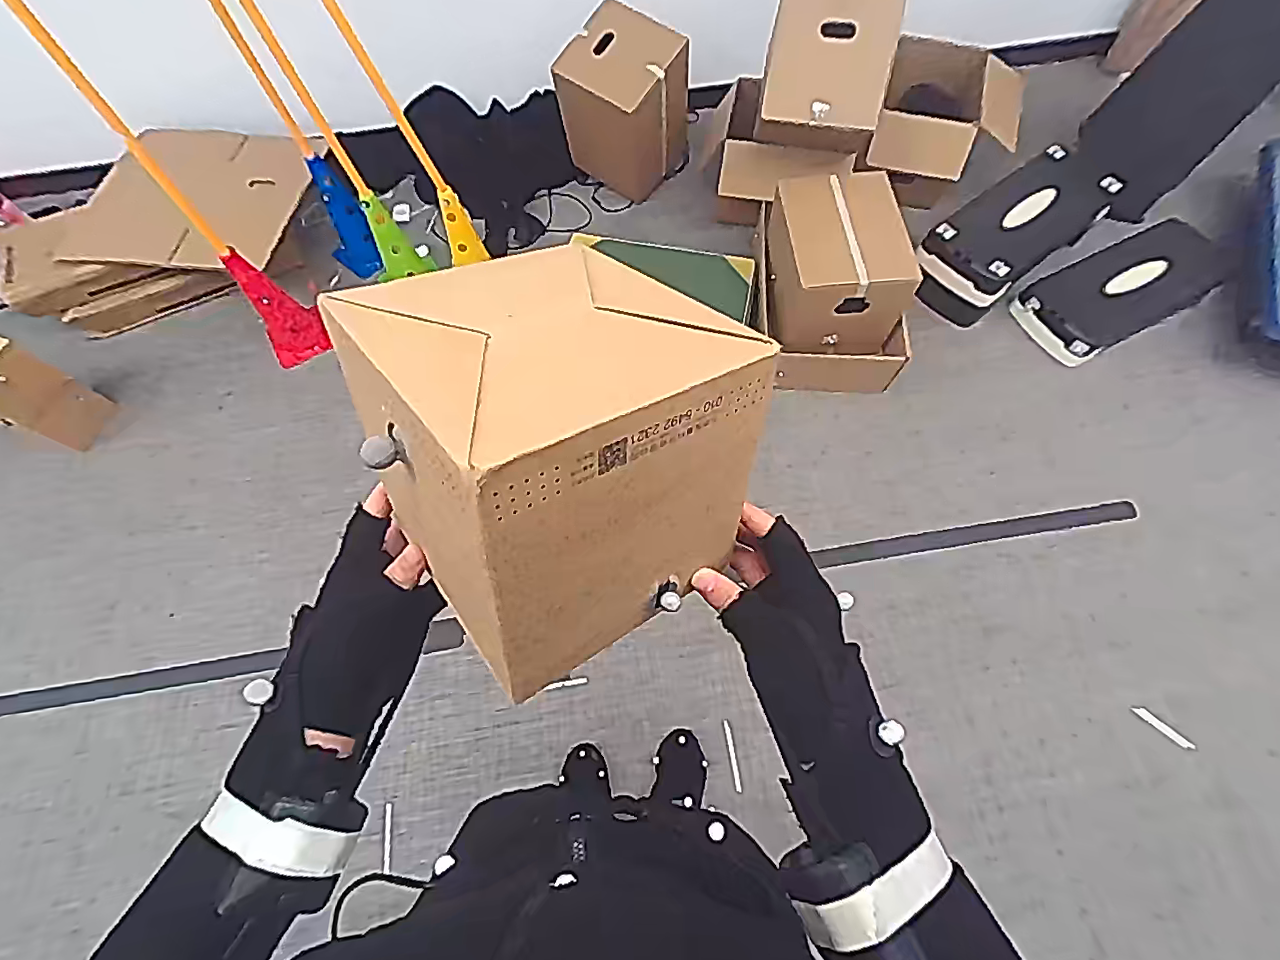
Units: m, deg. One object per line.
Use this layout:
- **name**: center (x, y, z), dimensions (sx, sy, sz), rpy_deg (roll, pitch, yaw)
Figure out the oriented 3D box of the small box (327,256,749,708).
- **small box**: center (-0.059, -0.016, 0.318), dimensions (0.168, 0.176, 0.179), rpy_deg (-24, 48, -28)
